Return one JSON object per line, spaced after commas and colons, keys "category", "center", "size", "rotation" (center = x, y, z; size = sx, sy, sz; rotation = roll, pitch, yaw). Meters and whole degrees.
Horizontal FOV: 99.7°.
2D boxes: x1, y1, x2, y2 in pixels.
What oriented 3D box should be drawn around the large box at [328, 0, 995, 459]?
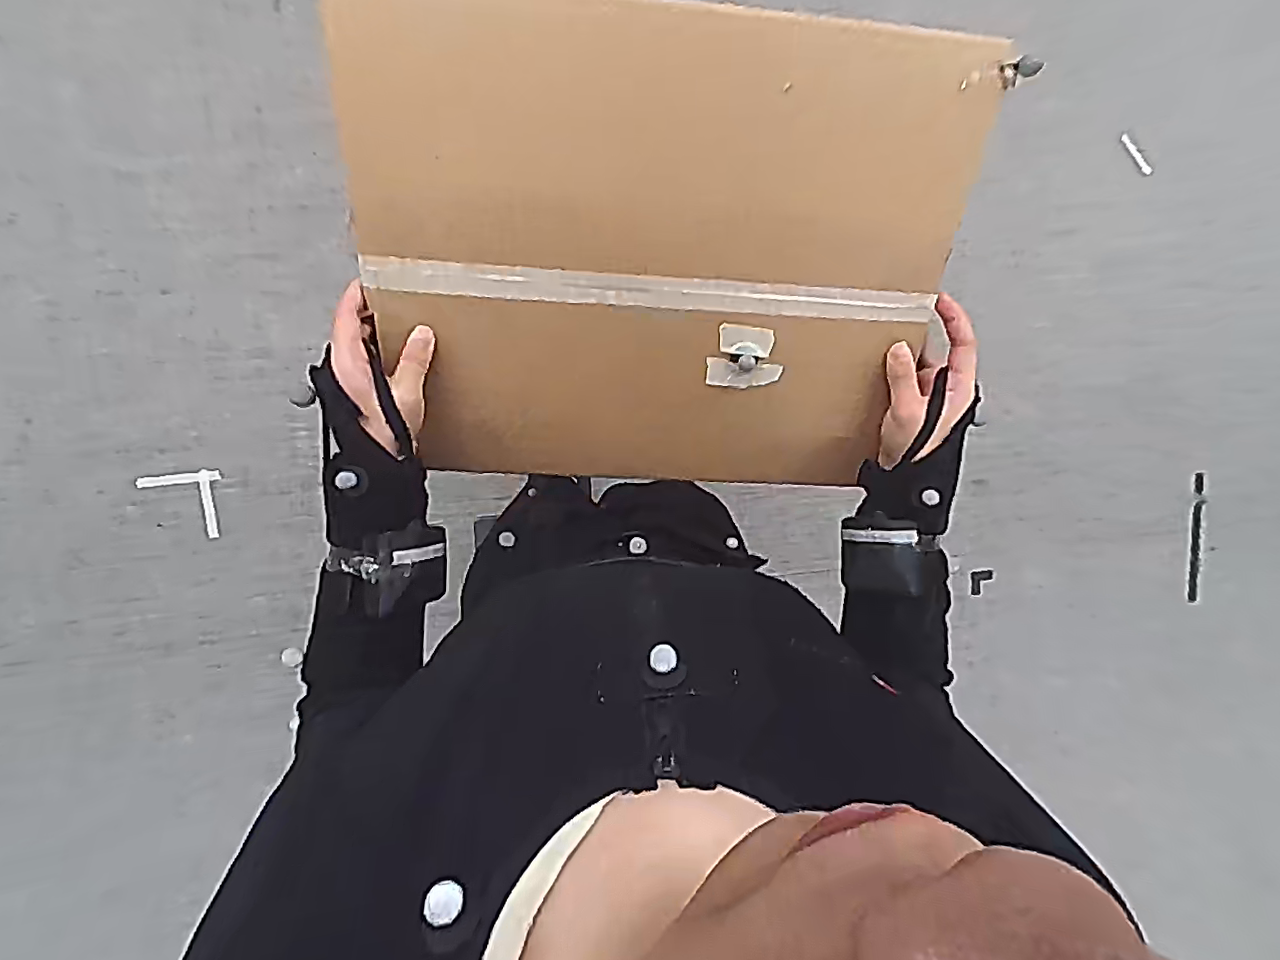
{"category": "large box", "center": [0.001, -0.228, 0.515], "size": [0.408, 0.320, 0.320], "rotation": [2, 121, -6]}
